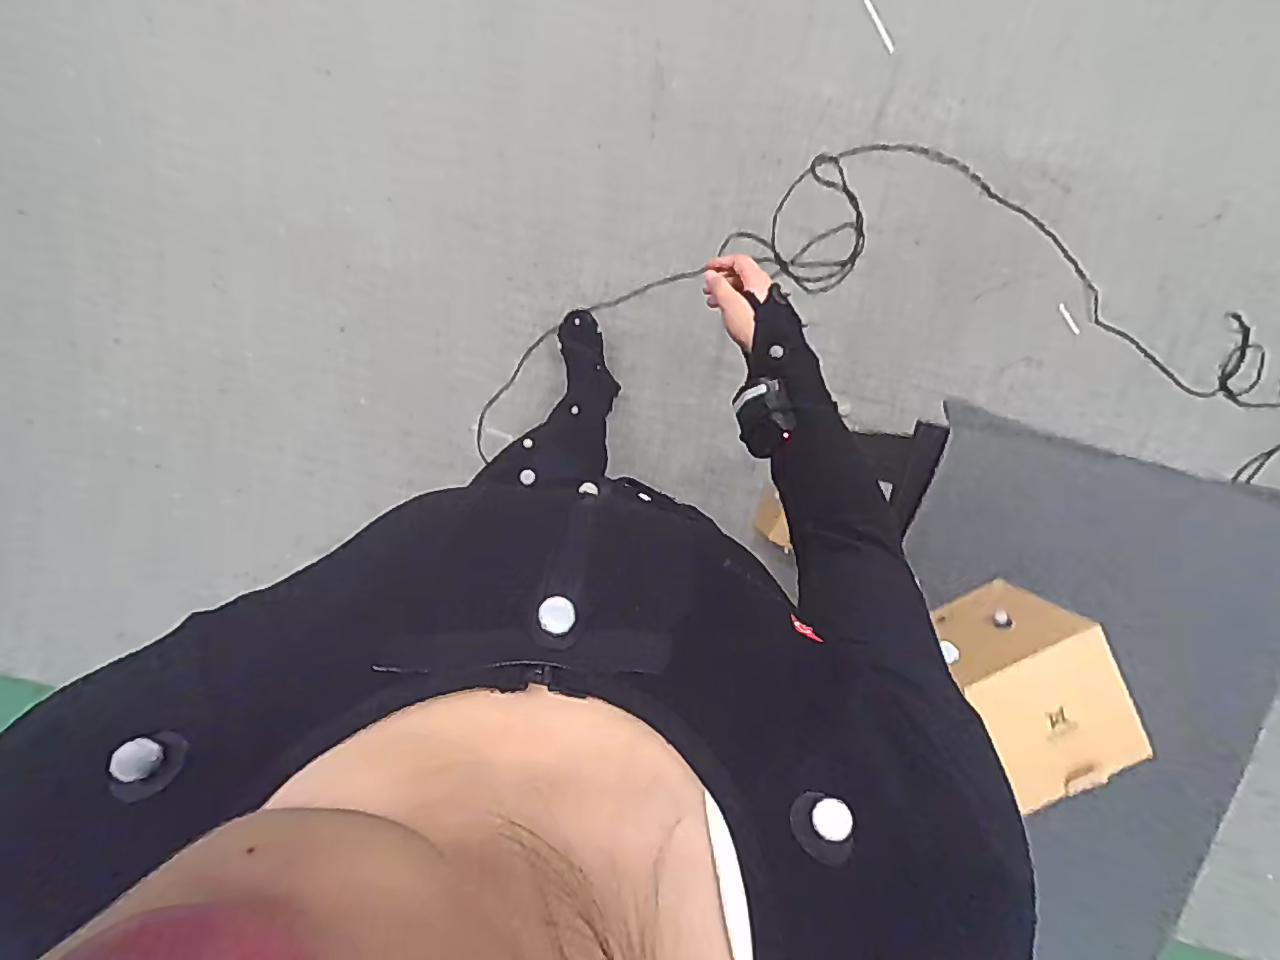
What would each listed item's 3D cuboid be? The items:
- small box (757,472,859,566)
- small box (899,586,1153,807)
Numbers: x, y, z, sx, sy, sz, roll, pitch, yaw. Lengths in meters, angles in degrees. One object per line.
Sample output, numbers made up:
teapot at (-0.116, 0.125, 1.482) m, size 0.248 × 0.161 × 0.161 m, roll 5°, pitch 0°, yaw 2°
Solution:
small box at (0.422, 0.091, 1.394) m, size 0.168 × 0.176 × 0.179 m, roll 26°, pitch 95°, yaw -3°
small box at (0.464, 0.251, 0.681) m, size 0.168 × 0.176 × 0.179 m, roll -28°, pitch 97°, yaw 2°
